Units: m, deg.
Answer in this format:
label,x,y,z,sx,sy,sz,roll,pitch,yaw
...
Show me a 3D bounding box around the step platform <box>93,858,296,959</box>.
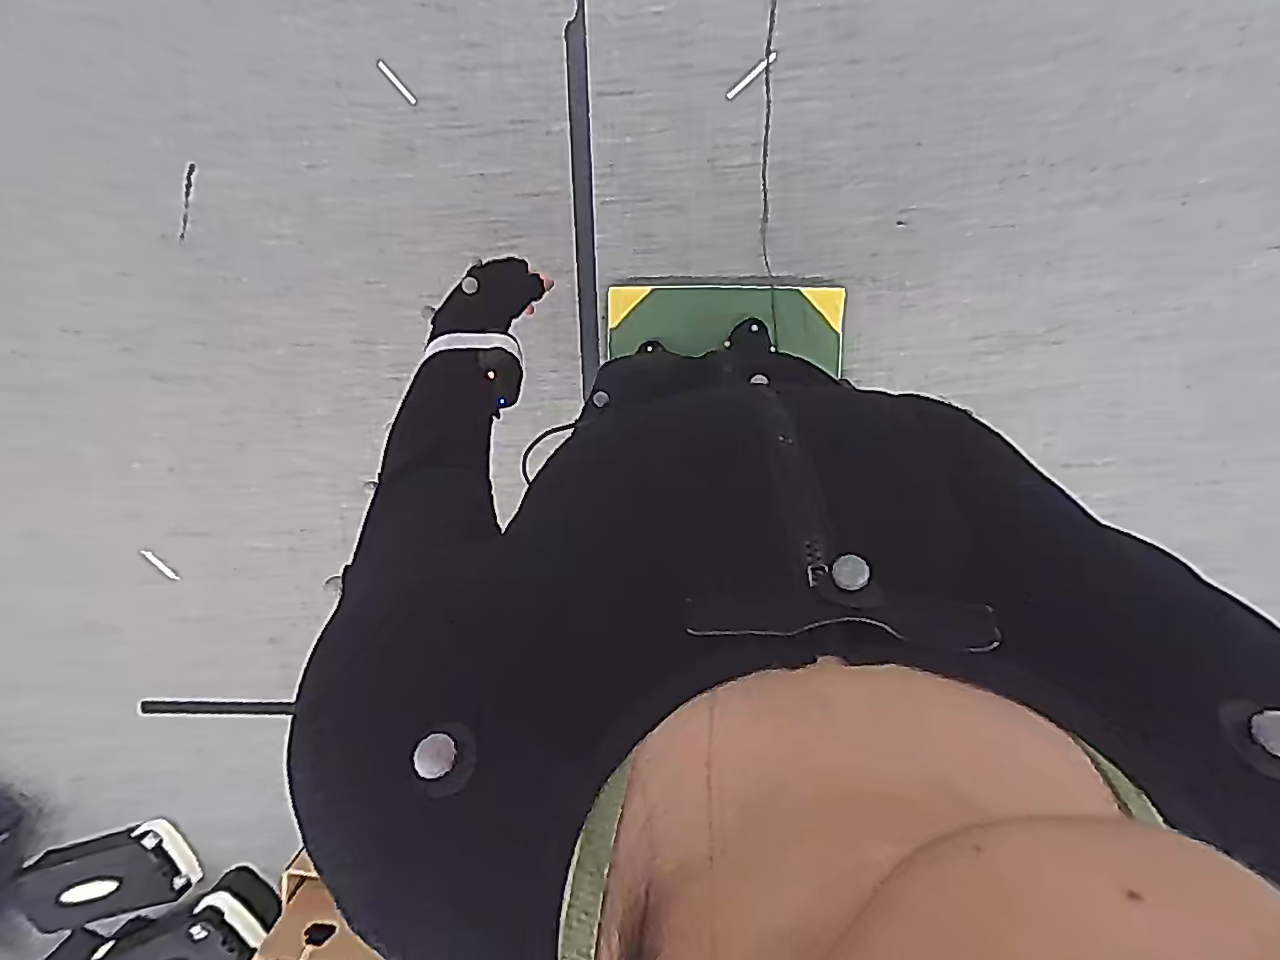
label,x,y,z,sx,sy,sz,roll,pitch,yaw
step platform,-1.650,1.681,1.994,0.684,0.204,0.286,-29,101,9
